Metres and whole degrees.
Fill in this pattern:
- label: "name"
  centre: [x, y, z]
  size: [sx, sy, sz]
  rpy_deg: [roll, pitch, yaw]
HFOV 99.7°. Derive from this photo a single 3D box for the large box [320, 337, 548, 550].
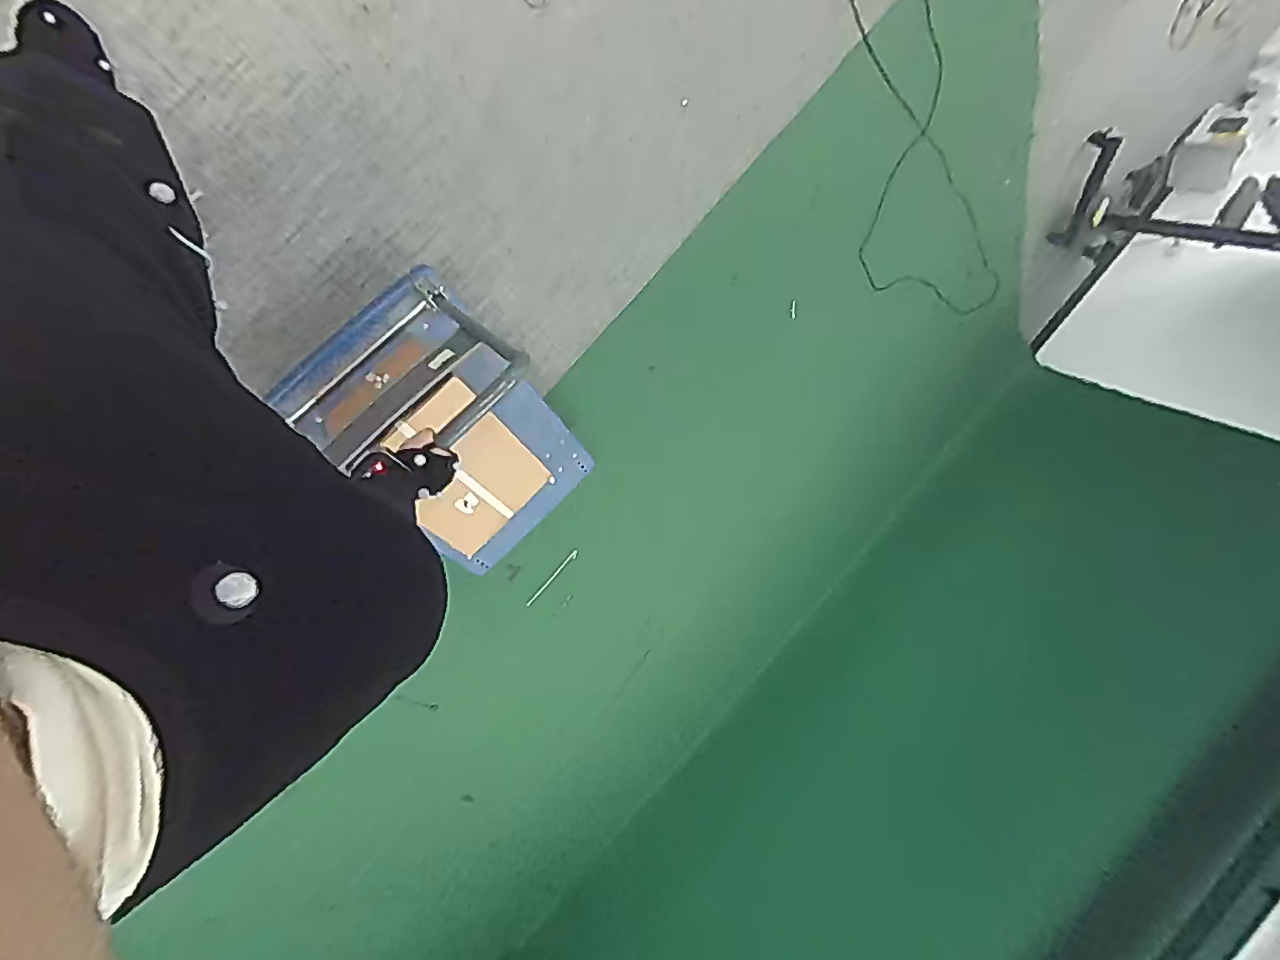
- label: "large box"
  centre: [-0.524, -0.091, 1.402]
  size: [0.320, 0.320, 0.408]
  rpy_deg: [-45, 138, -6]
